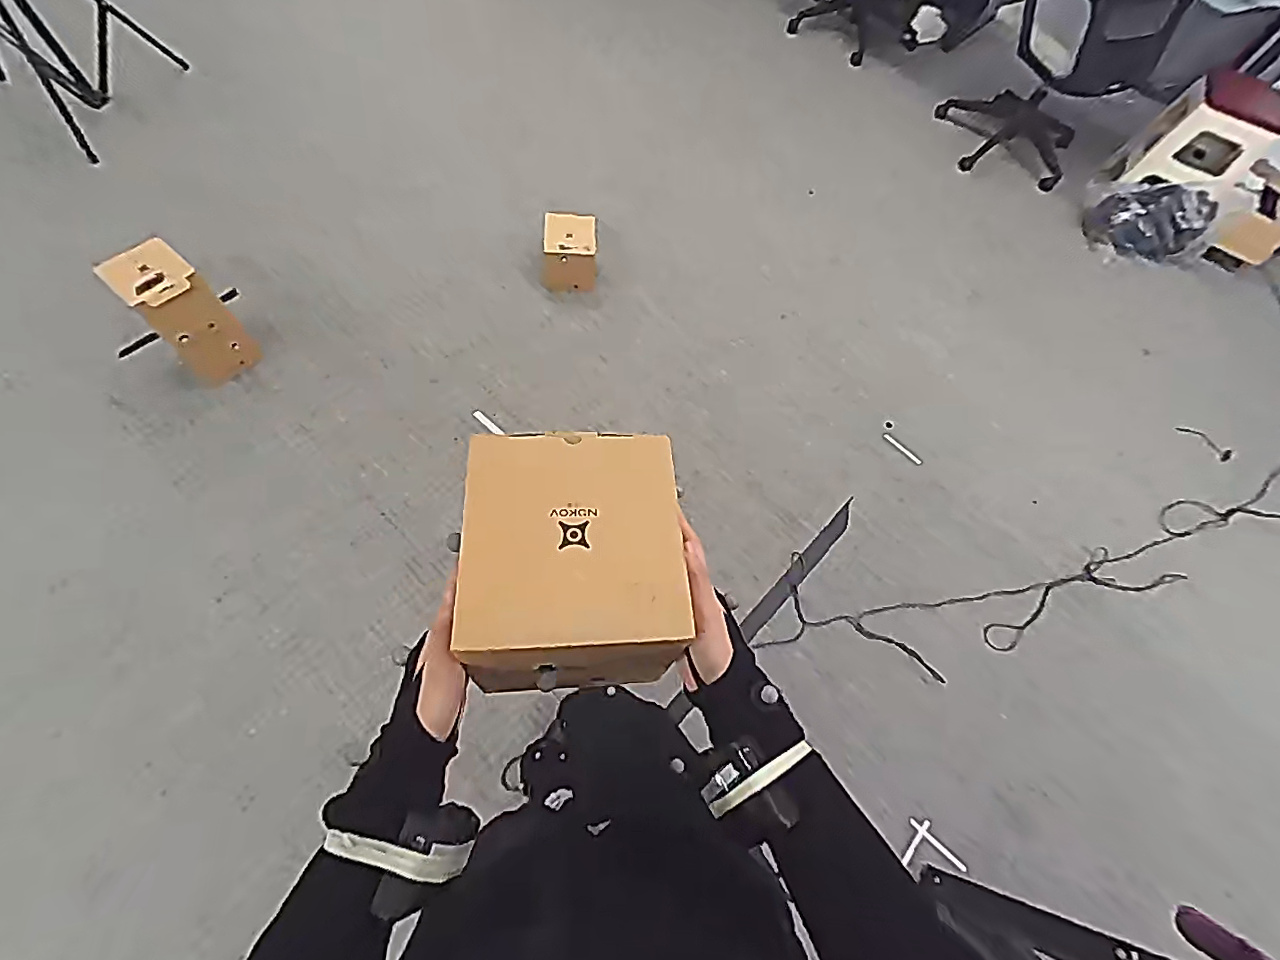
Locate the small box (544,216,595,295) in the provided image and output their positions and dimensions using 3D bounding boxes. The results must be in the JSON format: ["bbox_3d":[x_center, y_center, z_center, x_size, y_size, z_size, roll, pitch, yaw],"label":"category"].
[{"bbox_3d":[-0.240,-0.759,1.834,0.168,0.176,0.179,0,65,-7],"label":"small box"}]

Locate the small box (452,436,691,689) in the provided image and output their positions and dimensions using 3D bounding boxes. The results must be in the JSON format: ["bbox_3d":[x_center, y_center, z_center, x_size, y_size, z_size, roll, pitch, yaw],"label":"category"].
[{"bbox_3d":[-0.058,0.079,0.474,0.168,0.176,0.179,-1,59,-8],"label":"small box"}]

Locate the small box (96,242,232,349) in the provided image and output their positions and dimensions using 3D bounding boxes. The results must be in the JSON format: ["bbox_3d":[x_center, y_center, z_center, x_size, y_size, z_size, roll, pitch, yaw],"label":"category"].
[{"bbox_3d":[-1.221,-0.469,1.404,0.179,0.176,0.168,39,66,12],"label":"small box"}]

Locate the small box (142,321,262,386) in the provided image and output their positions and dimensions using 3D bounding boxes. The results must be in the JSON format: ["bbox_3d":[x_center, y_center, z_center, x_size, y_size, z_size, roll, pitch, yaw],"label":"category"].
[{"bbox_3d":[-1.243,-0.396,1.551,0.179,0.176,0.168,37,66,12],"label":"small box"}]
